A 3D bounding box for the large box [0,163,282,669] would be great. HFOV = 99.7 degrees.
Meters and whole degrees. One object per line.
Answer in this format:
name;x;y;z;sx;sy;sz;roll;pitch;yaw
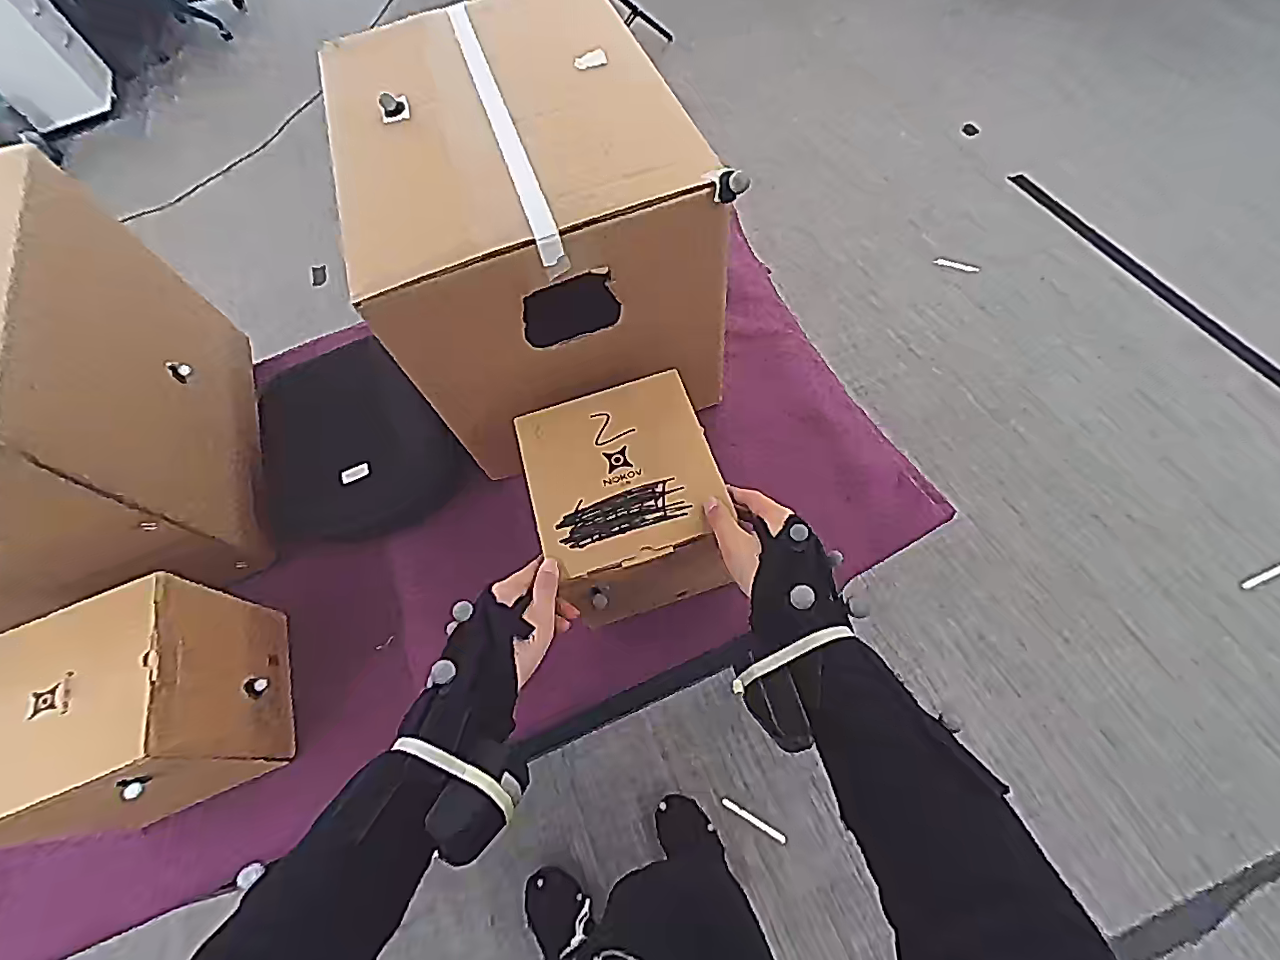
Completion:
large box;-0.675;-0.055;0.607;0.320;0.320;0.408;-25;65;-5
